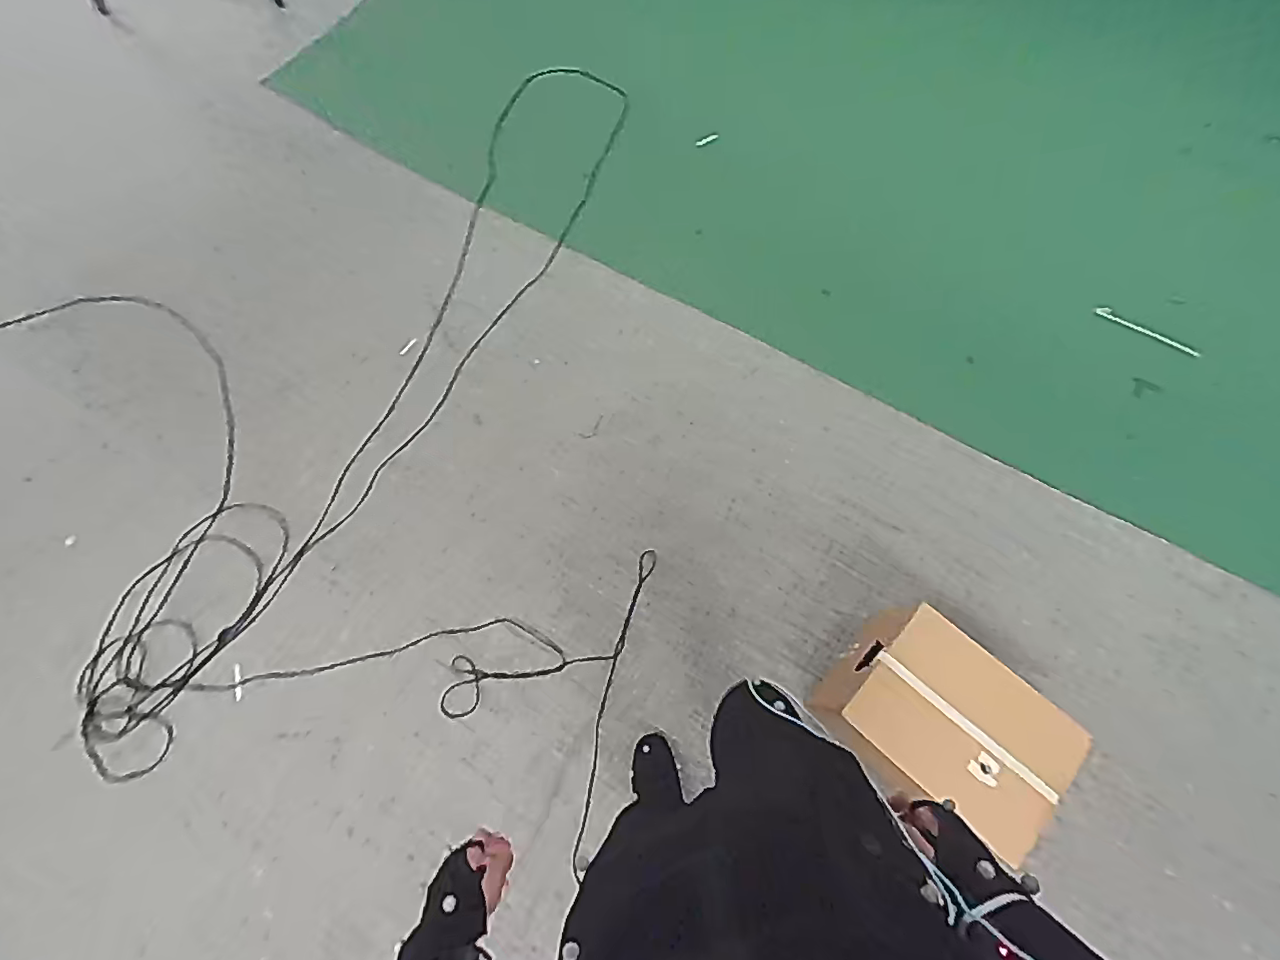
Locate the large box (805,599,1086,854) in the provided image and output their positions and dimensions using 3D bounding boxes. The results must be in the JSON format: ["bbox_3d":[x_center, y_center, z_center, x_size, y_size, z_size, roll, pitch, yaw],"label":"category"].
[{"bbox_3d":[0.663,0.536,1.248,0.408,0.320,0.320,40,77,14],"label":"large box"}]
